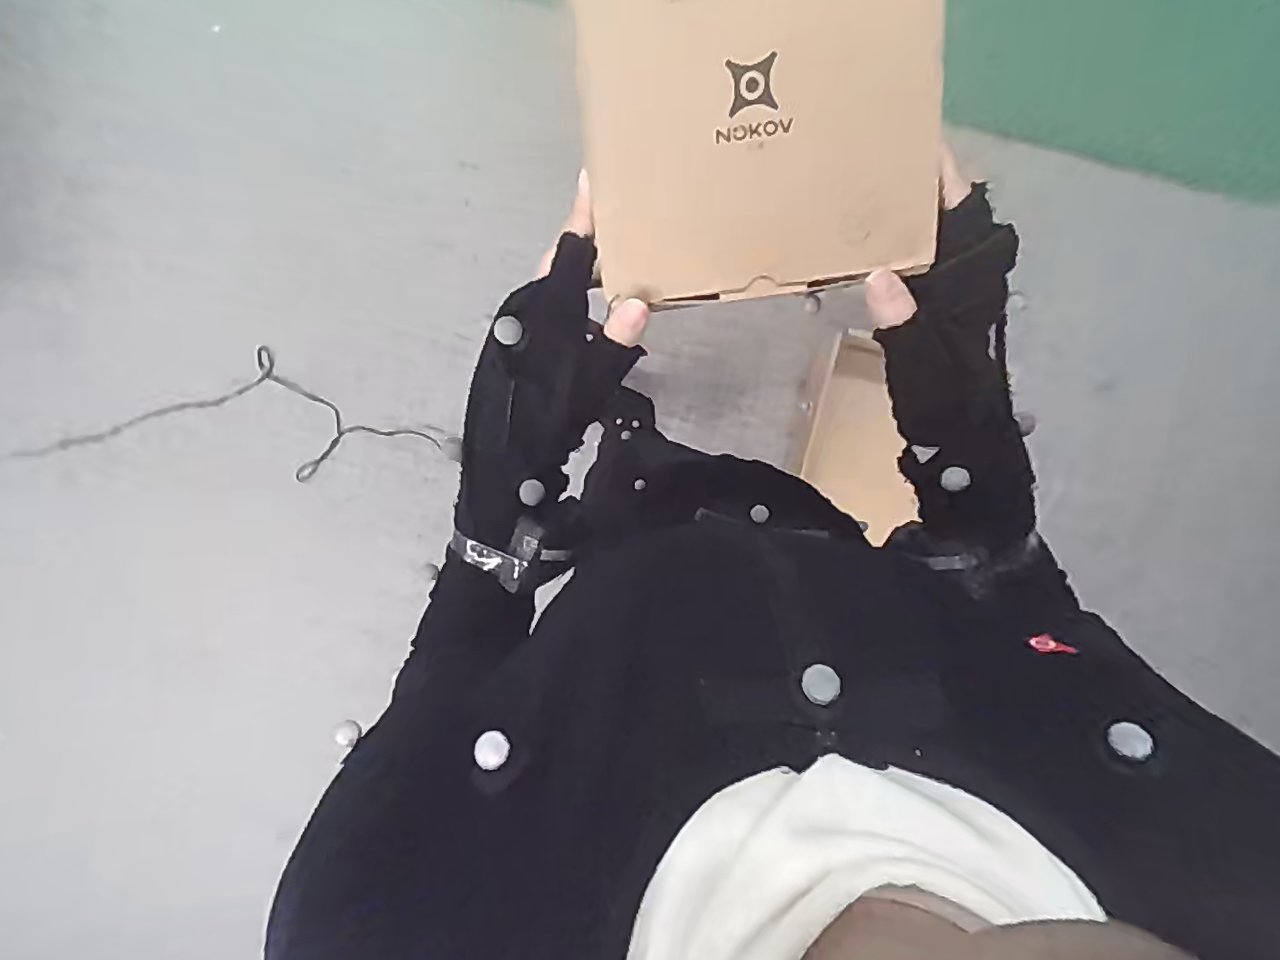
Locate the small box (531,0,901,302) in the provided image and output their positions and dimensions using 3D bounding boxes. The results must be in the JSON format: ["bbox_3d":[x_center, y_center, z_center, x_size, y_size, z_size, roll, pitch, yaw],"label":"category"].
[{"bbox_3d":[0.045,-0.207,0.327,0.168,0.176,0.179,-5,105,8],"label":"small box"}]
